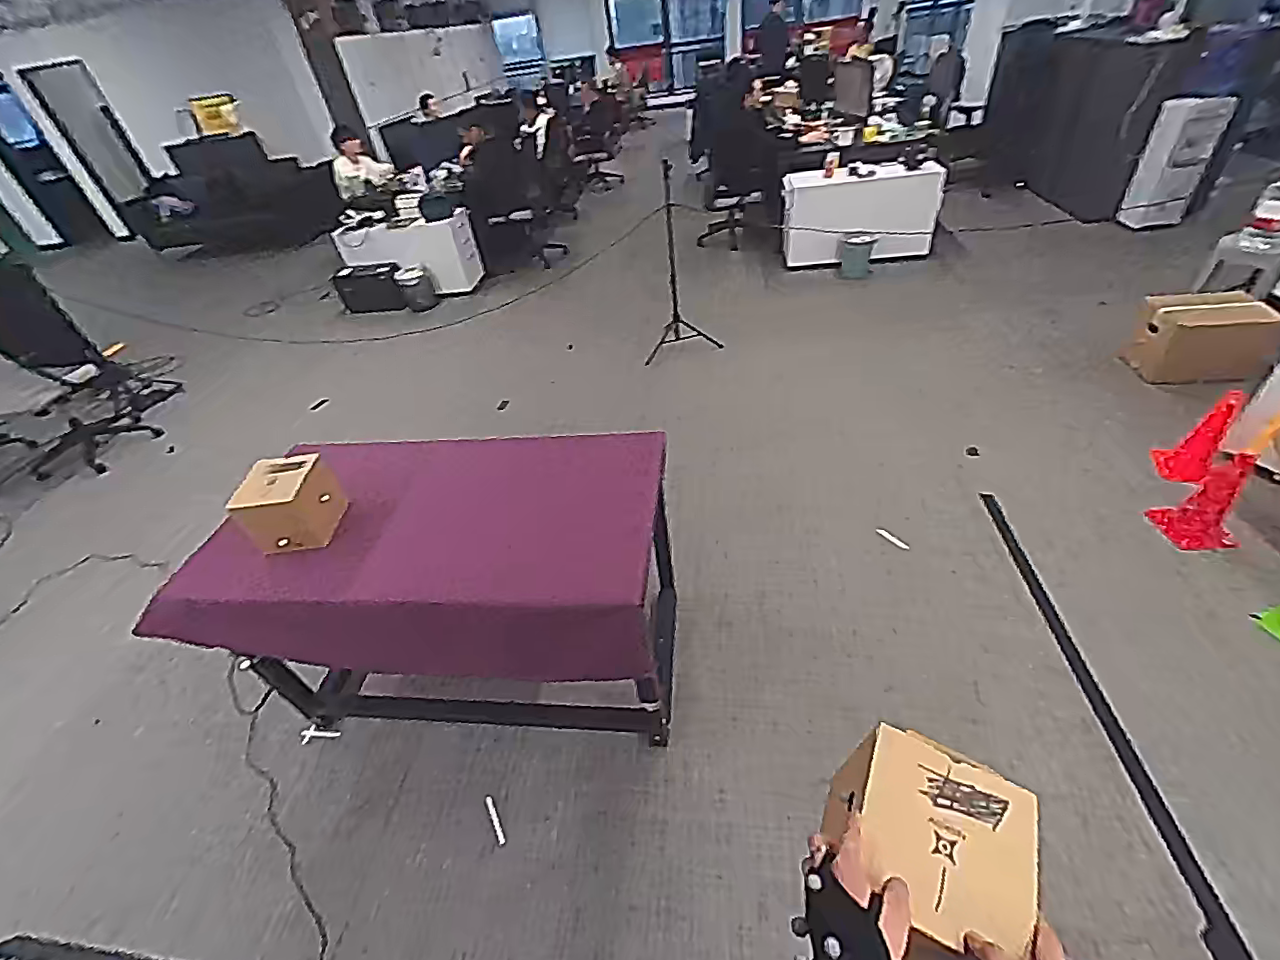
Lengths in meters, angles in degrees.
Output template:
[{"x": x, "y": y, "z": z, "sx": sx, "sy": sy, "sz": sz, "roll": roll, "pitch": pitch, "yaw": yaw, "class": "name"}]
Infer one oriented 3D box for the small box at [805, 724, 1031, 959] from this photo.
[{"x": 0.298, "y": 0.419, "z": 0.602, "sx": 0.168, "sy": 0.176, "sz": 0.179, "roll": 20, "pitch": 46, "yaw": 17, "class": "small box"}]
